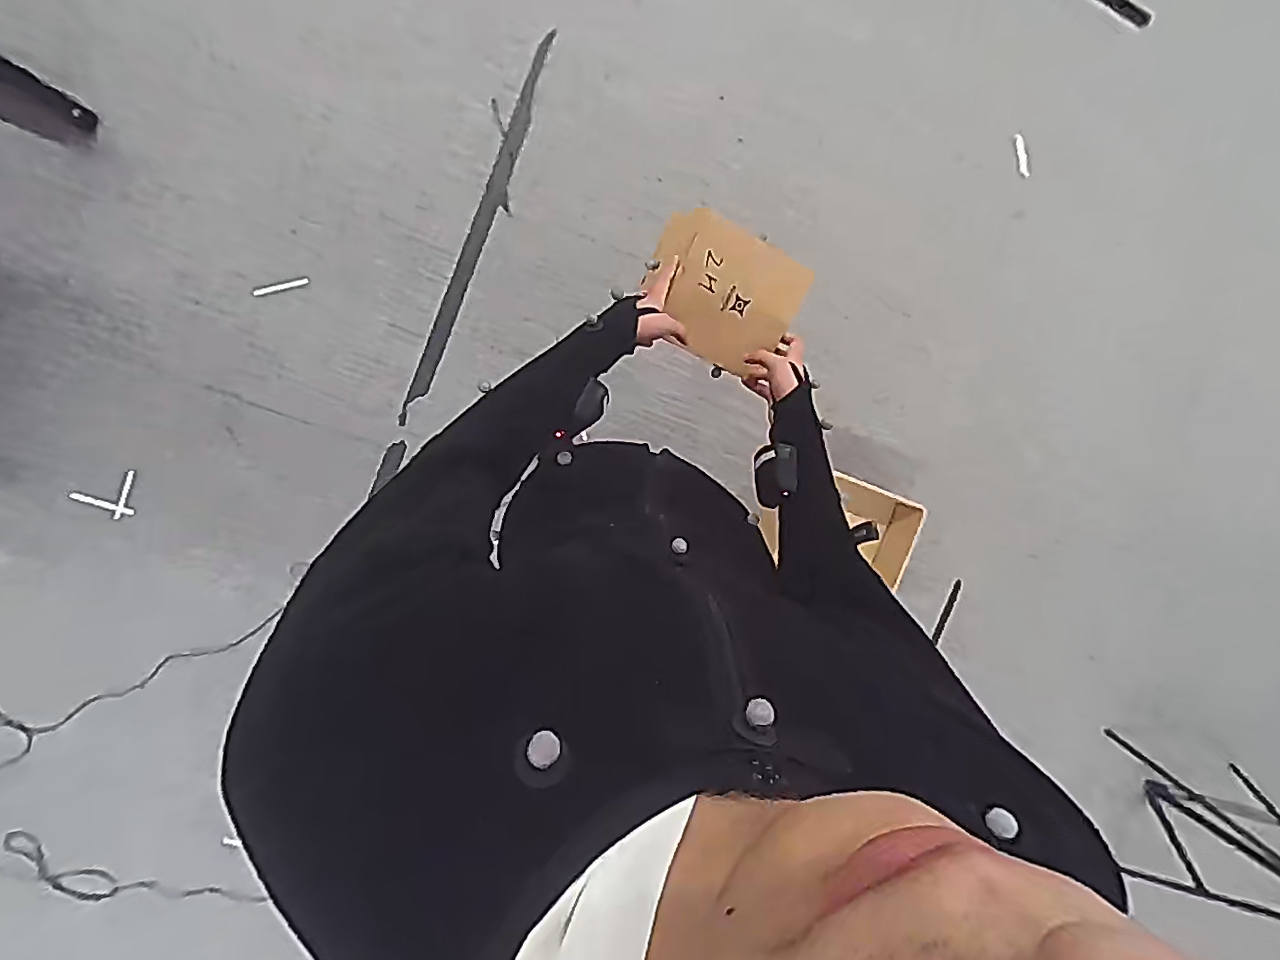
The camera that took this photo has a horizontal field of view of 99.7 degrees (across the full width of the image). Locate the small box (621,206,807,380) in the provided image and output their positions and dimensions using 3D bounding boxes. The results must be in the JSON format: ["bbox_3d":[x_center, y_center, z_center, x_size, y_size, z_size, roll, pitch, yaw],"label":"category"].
[{"bbox_3d":[0.094,-0.267,0.775,0.179,0.176,0.168,21,106,-21],"label":"small box"}]
